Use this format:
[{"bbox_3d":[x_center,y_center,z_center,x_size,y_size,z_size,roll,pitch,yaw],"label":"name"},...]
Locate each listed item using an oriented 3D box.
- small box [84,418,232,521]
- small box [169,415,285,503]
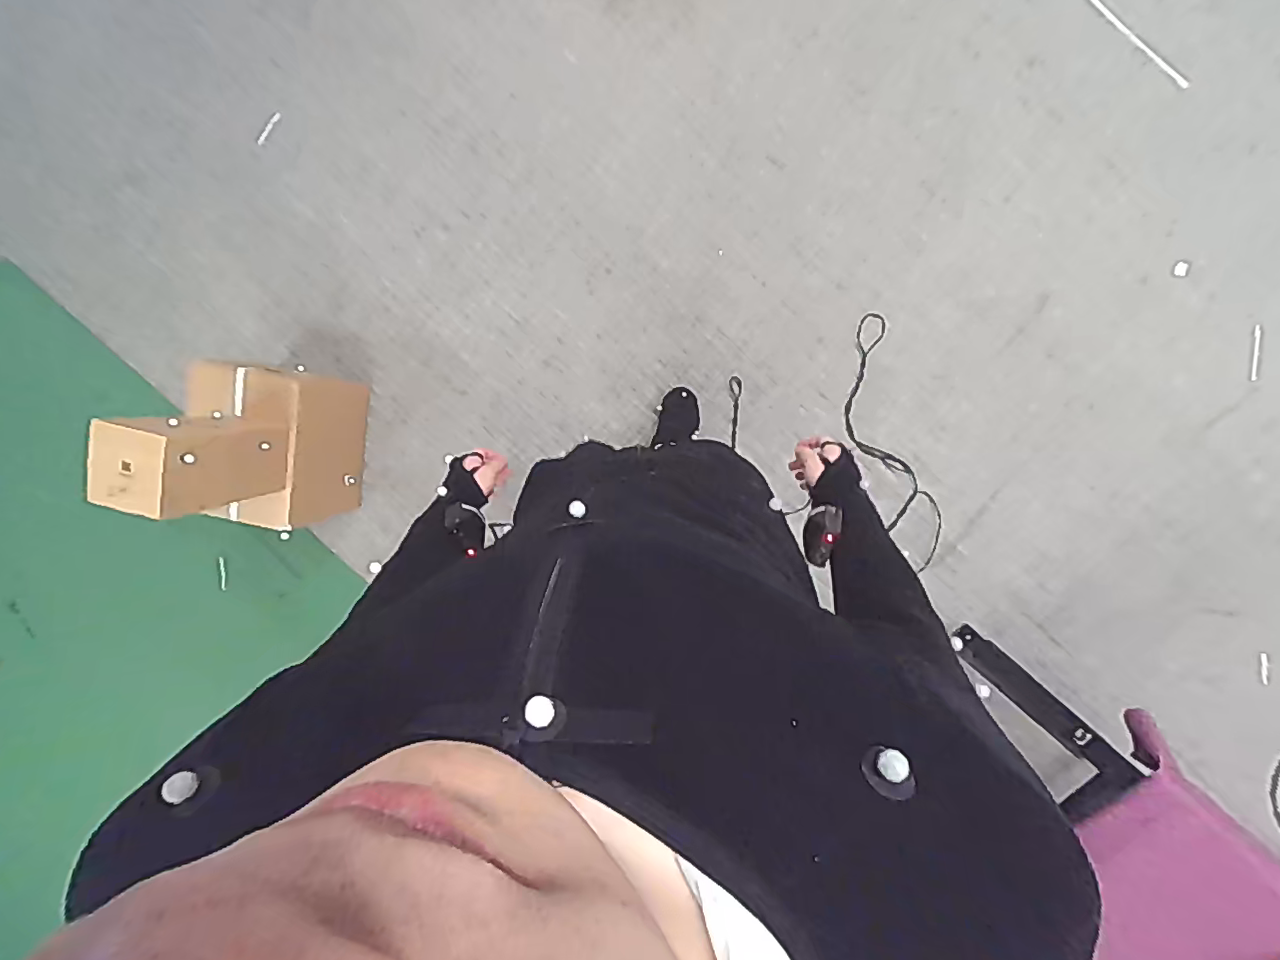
[{"bbox_3d":[-1.012,-0.031,1.148,0.168,0.176,0.179,14,100,4],"label":"small box"},{"bbox_3d":[-0.997,-0.058,1.310,0.168,0.176,0.179,11,100,4],"label":"small box"}]
